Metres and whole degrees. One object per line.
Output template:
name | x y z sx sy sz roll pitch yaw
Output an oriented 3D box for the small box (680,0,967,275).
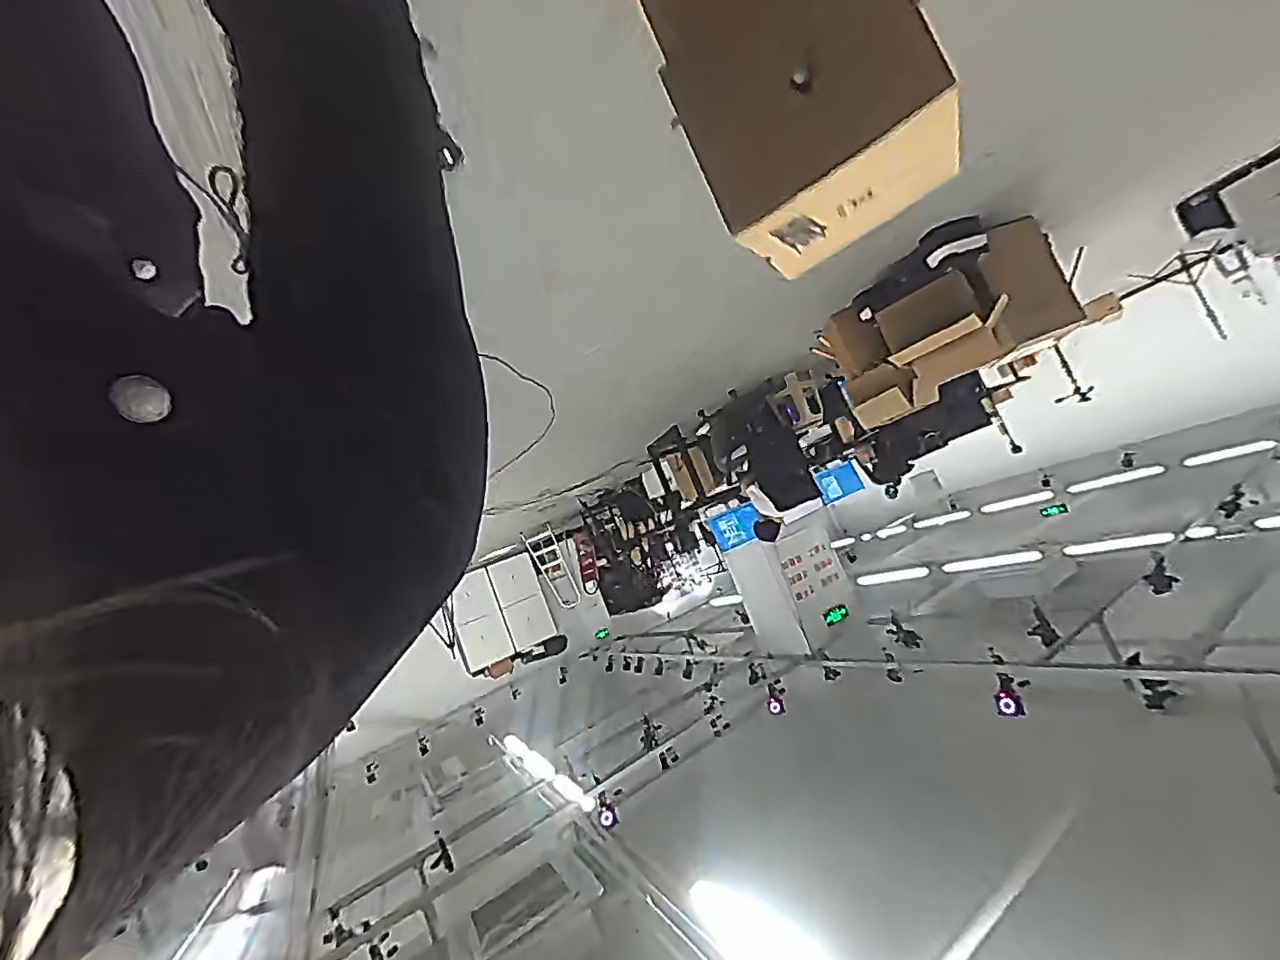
small box | 0.154 -0.316 0.470 0.179 0.176 0.168 -28 172 31
